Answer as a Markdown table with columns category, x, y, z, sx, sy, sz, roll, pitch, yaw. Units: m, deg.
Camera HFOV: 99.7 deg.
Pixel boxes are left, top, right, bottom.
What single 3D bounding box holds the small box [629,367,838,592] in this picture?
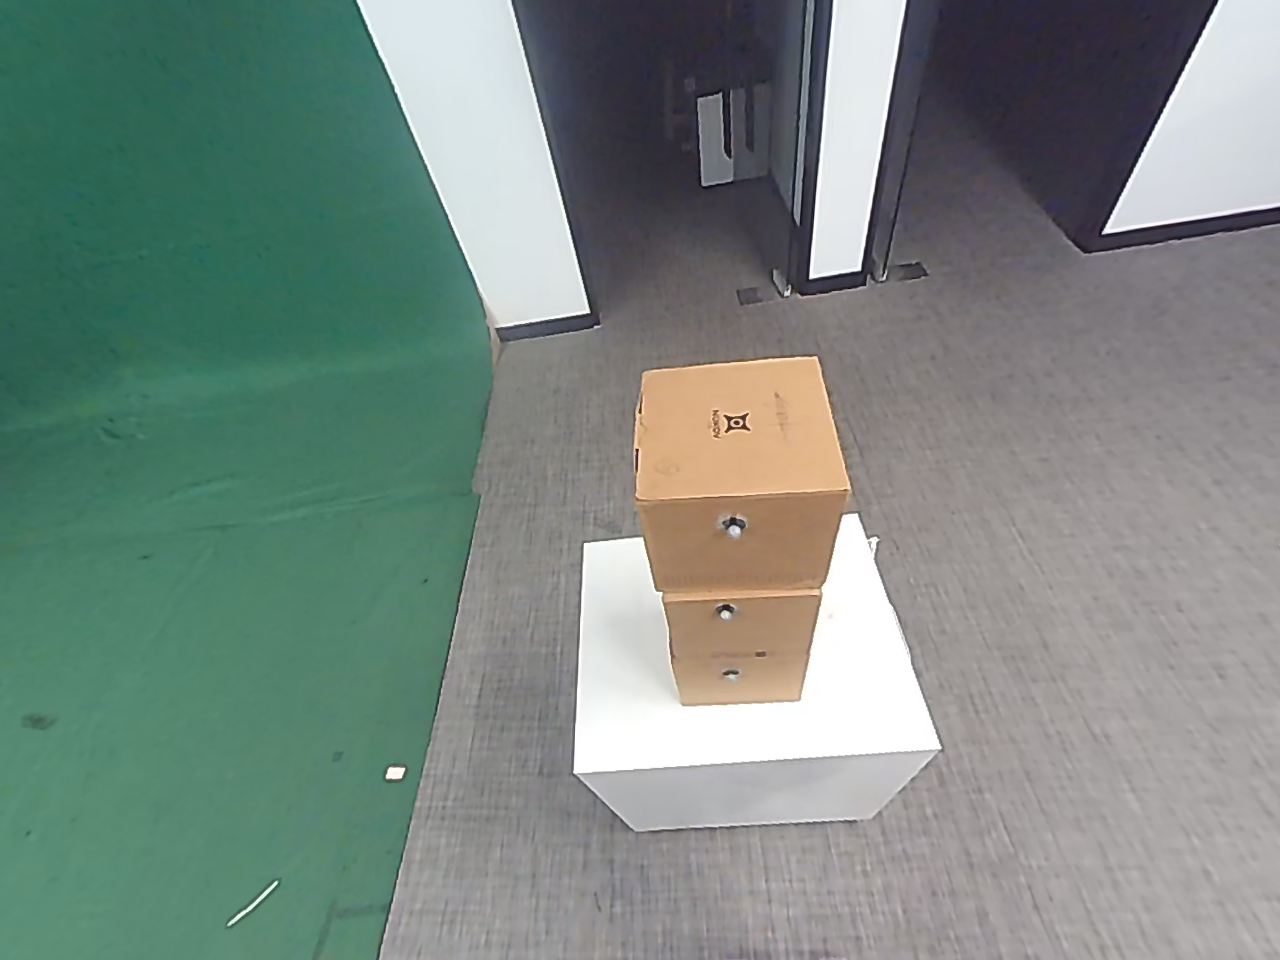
| category | x | y | z | sx | sy | sz | roll | pitch | yaw |
| --- | --- | --- | --- | --- | --- | --- | --- | --- | --- |
| small box | 0.091 | 0.006 | 0.559 | 0.179 | 0.176 | 0.168 | -3 | 51 | 7 |

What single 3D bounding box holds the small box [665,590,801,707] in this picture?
| category | x | y | z | sx | sy | sz | roll | pitch | yaw |
| --- | --- | --- | --- | --- | --- | --- | --- | --- | --- |
| small box | 0.134 | 0.224 | 0.797 | 0.179 | 0.176 | 0.168 | -5 | 49 | 7 |

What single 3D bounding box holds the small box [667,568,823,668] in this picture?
| category | x | y | z | sx | sy | sz | roll | pitch | yaw |
| --- | --- | --- | --- | --- | --- | --- | --- | --- | --- |
| small box | 0.118 | 0.116 | 0.679 | 0.168 | 0.176 | 0.179 | -5 | 49 | 5 |
